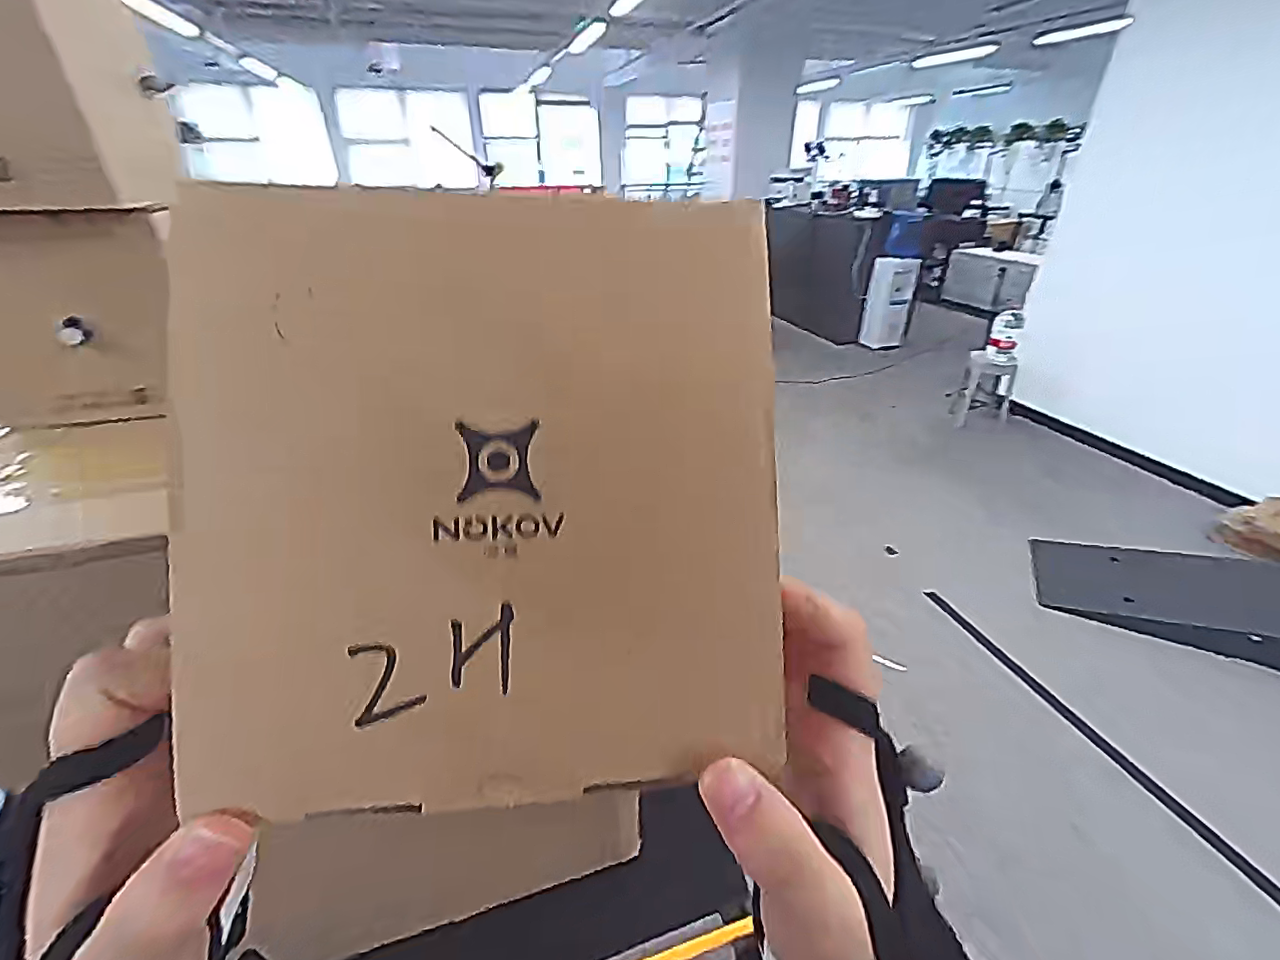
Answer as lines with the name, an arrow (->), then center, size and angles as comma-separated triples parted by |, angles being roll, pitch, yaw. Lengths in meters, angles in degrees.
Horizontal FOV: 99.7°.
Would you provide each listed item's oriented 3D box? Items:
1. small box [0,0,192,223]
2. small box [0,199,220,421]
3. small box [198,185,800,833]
small box -> -0.472, -0.286, 0.393 | 0.168, 0.176, 0.179 | -12, 32, -18
small box -> -0.478, -0.160, 0.503 | 0.168, 0.176, 0.179 | -9, 31, -16
small box -> -0.043, 0.009, 0.233 | 0.168, 0.179, 0.176 | 0, -1, -7
